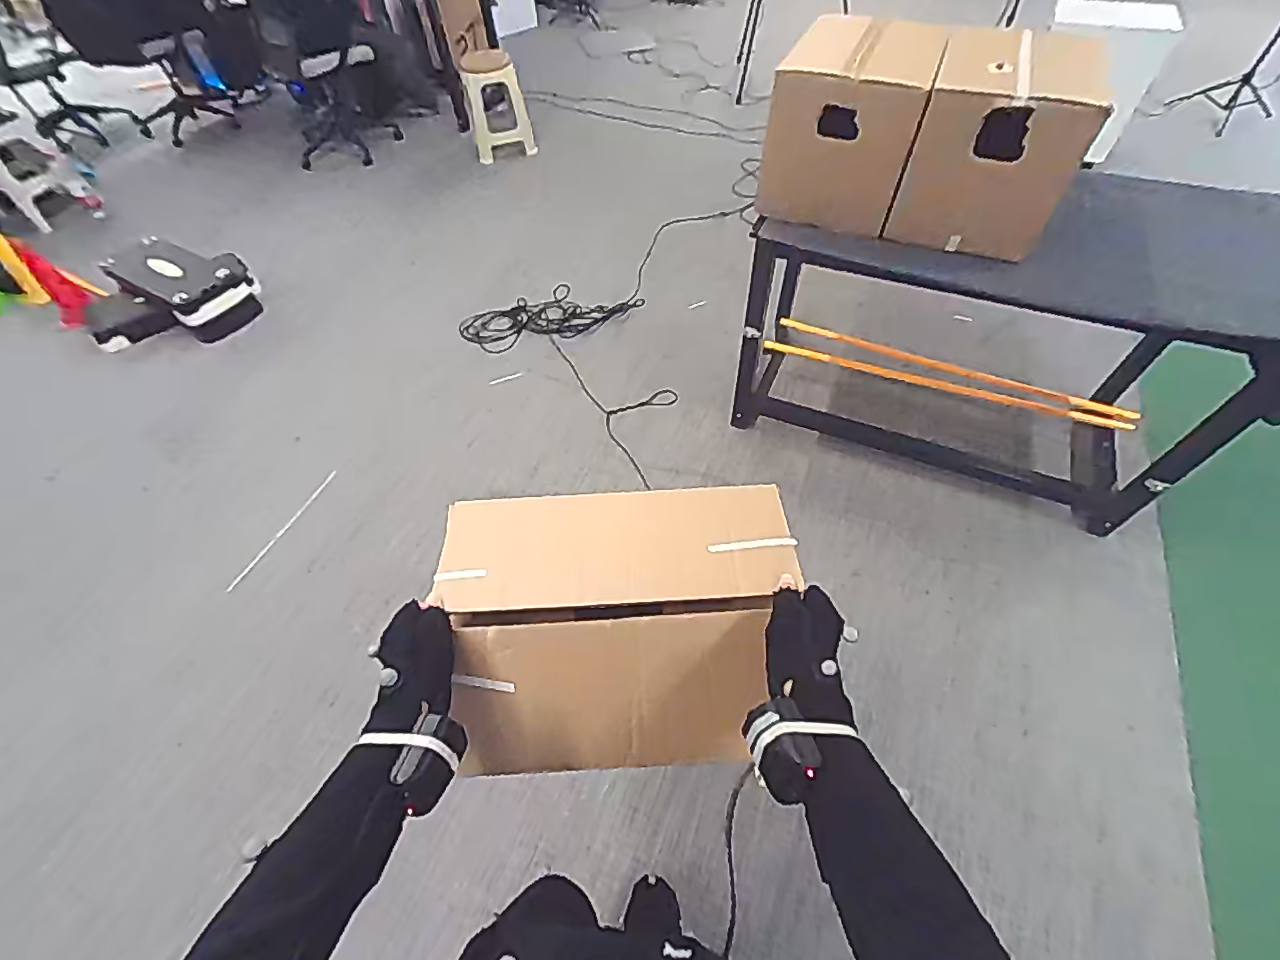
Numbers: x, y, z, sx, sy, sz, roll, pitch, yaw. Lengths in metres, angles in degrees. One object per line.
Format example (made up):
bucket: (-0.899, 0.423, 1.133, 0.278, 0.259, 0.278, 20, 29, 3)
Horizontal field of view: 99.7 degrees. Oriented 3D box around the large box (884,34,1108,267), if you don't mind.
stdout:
large box: (0.794, -0.761, 1.244, 0.320, 0.320, 0.408, 18, 57, 16)
